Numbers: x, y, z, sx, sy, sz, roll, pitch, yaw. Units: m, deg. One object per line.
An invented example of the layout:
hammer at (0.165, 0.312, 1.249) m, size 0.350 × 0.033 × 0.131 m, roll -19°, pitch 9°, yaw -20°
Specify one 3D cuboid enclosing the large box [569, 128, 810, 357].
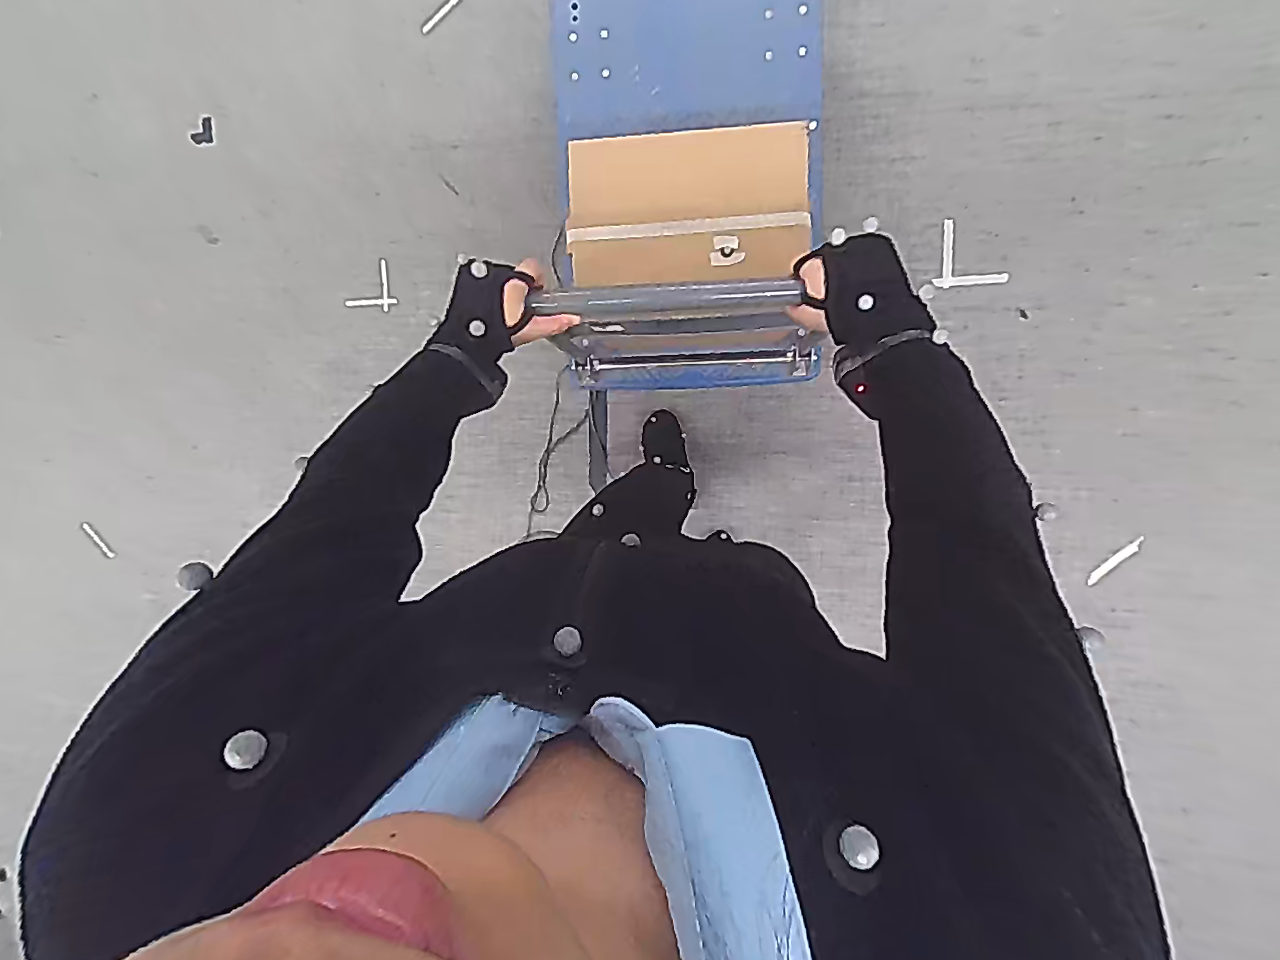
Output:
large box at (0.094, -0.428, 1.059) m, size 0.408 × 0.320 × 0.320 m, roll -1°, pitch 96°, yaw 6°
